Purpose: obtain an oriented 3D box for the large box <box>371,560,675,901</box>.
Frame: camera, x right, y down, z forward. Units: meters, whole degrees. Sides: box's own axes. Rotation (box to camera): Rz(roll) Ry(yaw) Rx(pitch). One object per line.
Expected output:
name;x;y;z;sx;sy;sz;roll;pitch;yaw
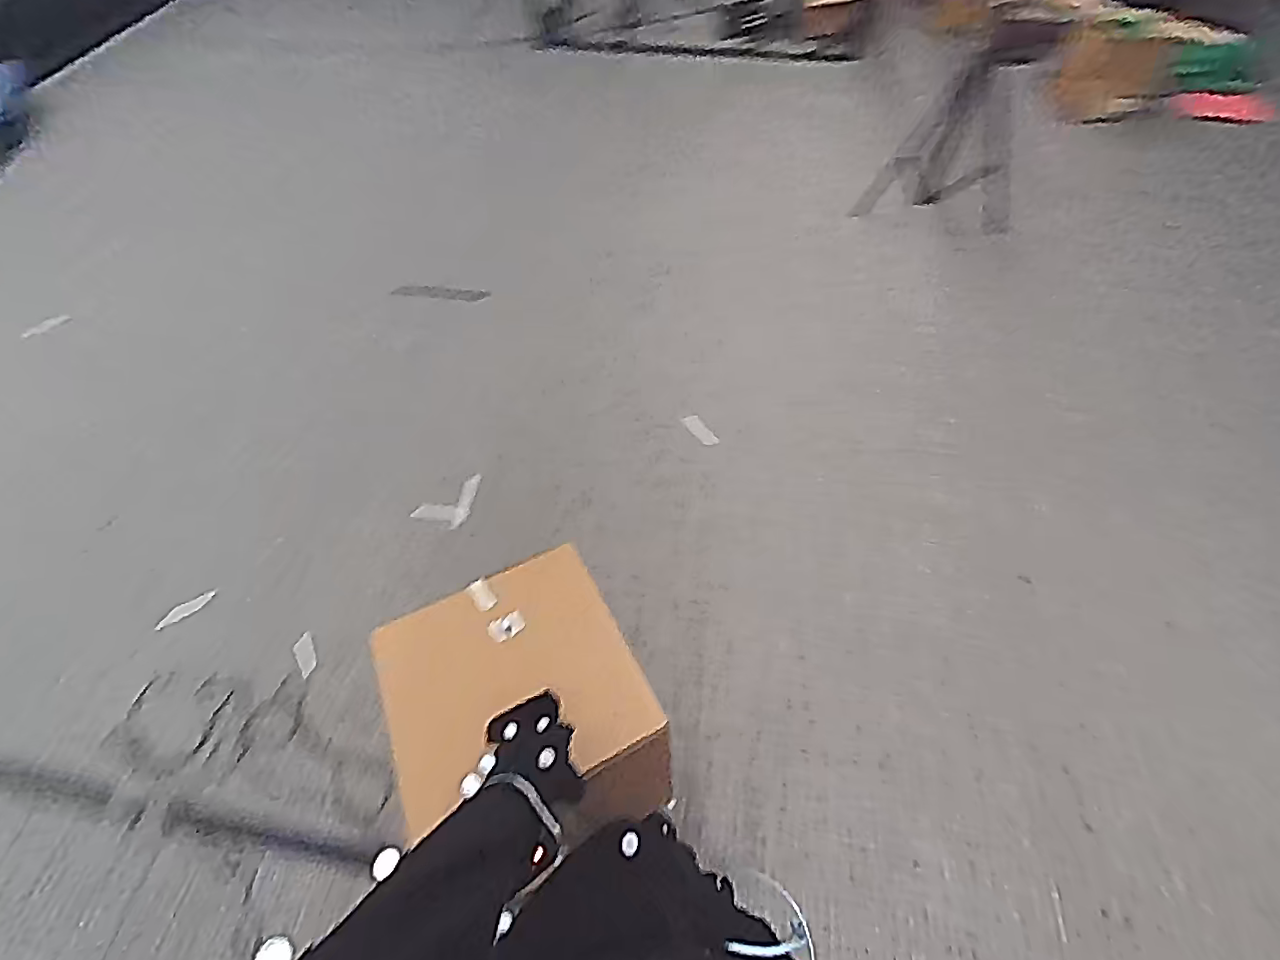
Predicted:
large box;-0.161;0.399;0.857;0.320;0.408;0.320;-25;52;-14
